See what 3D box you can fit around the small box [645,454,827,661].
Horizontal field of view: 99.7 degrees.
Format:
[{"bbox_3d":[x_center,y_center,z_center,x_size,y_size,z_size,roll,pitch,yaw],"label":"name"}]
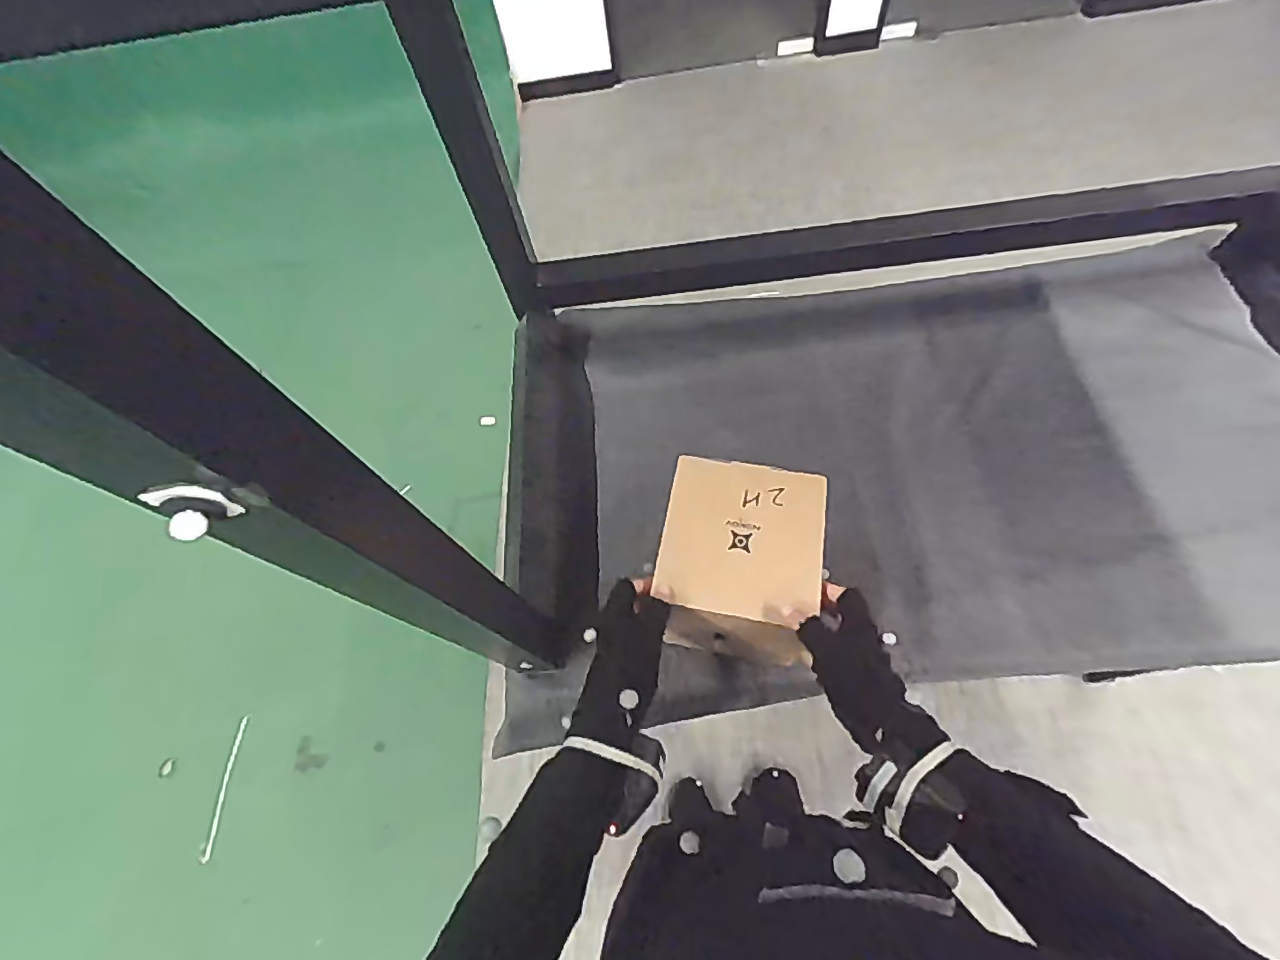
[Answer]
[{"bbox_3d":[0.109,0.098,0.635,0.168,0.176,0.179,12,61,9],"label":"small box"}]
